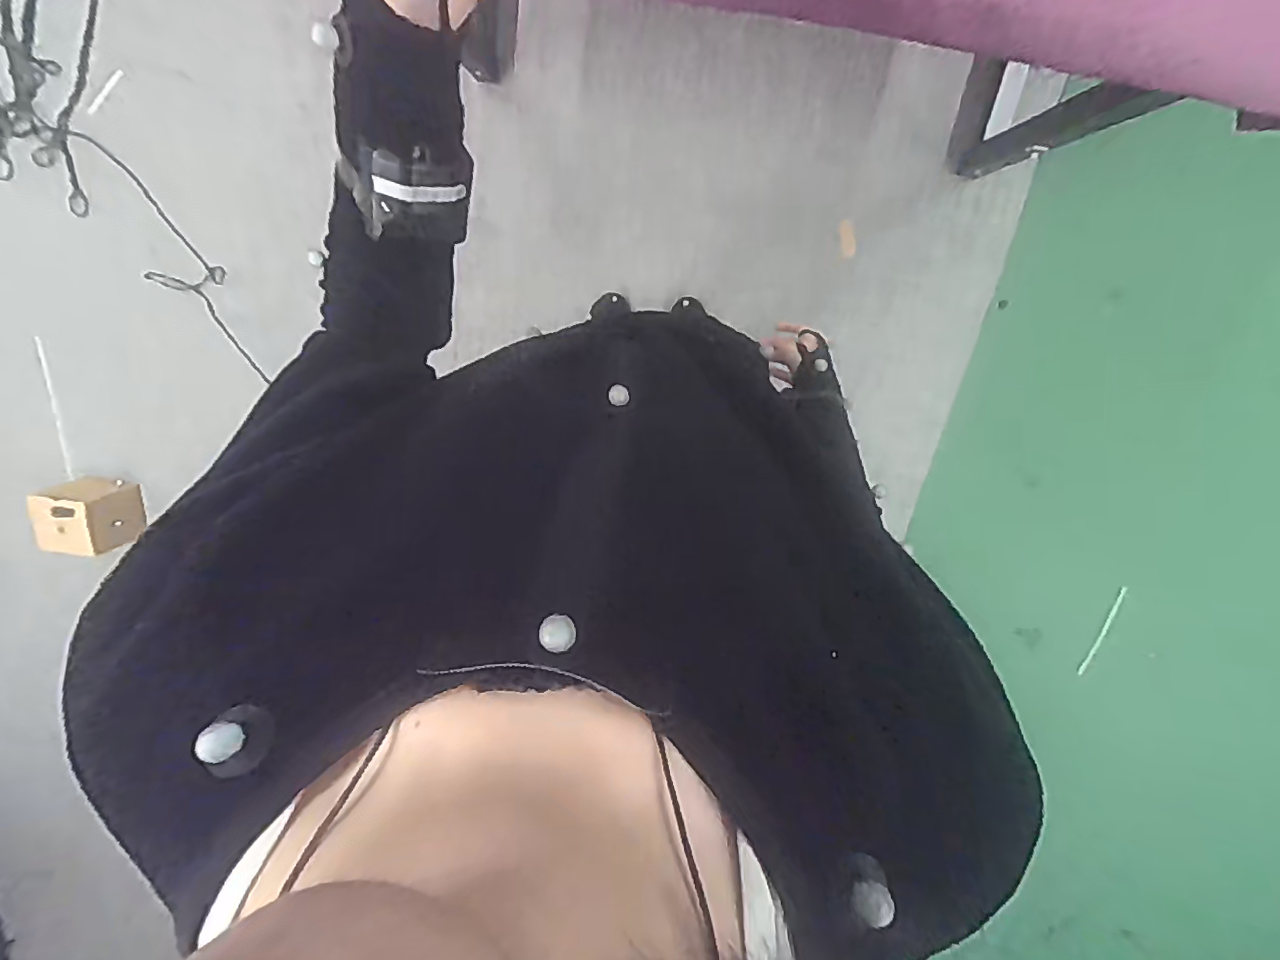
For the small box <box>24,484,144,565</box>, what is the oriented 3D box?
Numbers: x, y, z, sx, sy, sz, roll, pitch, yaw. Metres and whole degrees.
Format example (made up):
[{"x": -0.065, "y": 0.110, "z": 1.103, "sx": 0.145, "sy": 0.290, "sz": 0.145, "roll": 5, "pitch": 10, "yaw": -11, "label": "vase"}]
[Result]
[{"x": -1.625, "y": 0.125, "z": 1.592, "sx": 0.168, "sy": 0.176, "sz": 0.179, "roll": 9, "pitch": 110, "yaw": 1, "label": "small box"}]
